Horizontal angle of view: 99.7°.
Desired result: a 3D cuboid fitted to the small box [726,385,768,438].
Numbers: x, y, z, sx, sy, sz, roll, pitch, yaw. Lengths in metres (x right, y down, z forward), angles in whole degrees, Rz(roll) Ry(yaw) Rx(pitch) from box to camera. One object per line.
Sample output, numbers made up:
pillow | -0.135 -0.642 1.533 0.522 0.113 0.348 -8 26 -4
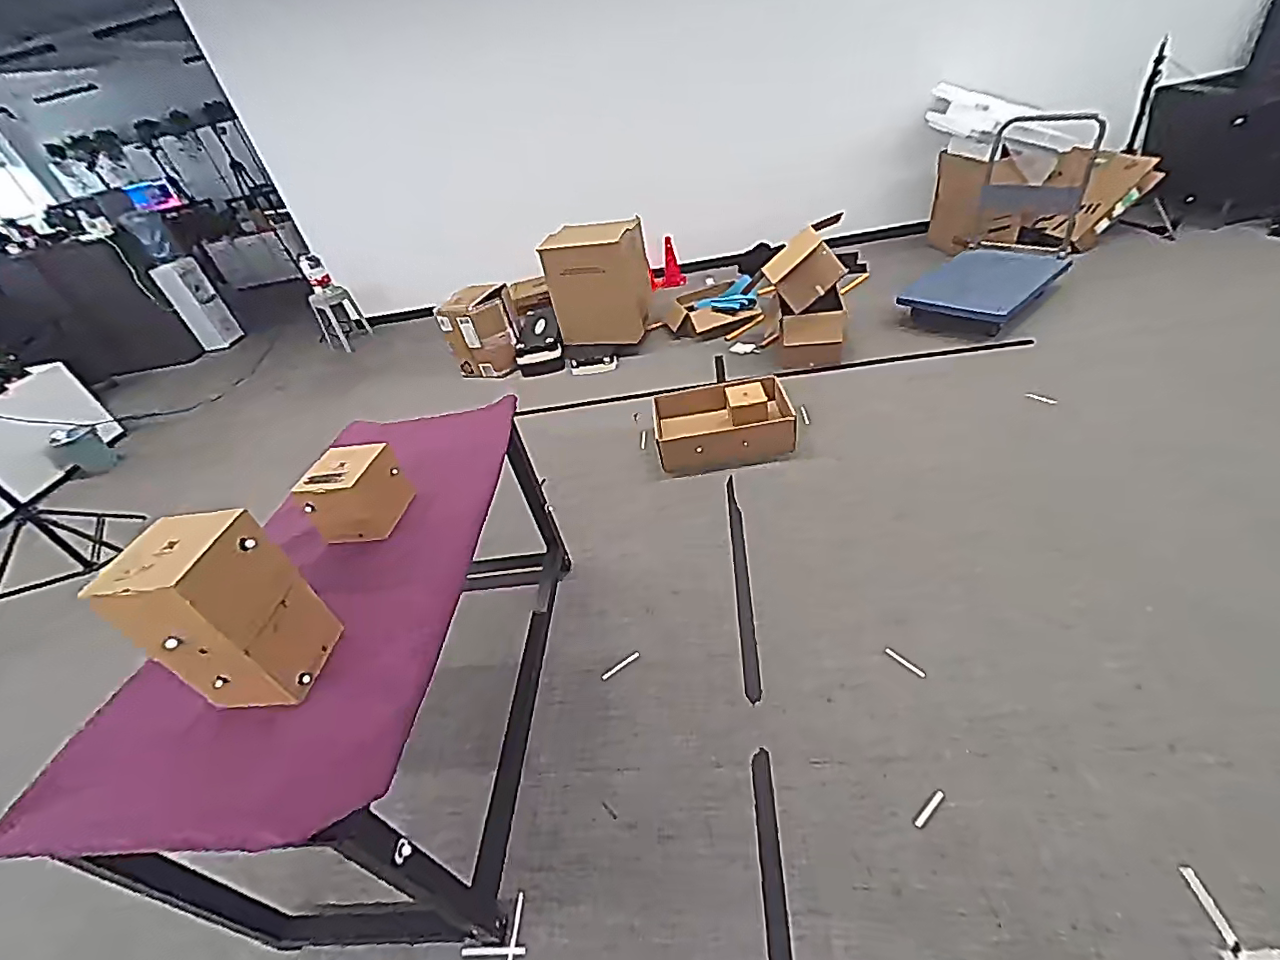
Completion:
small box | 0.500 -0.320 2.536 0.168 0.176 0.179 -10 38 5

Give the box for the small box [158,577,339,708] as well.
small box | -0.702 0.302 0.998 0.179 0.176 0.168 -7 38 9

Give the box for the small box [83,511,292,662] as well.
small box | -0.722 0.175 0.894 0.168 0.176 0.179 -7 38 8
